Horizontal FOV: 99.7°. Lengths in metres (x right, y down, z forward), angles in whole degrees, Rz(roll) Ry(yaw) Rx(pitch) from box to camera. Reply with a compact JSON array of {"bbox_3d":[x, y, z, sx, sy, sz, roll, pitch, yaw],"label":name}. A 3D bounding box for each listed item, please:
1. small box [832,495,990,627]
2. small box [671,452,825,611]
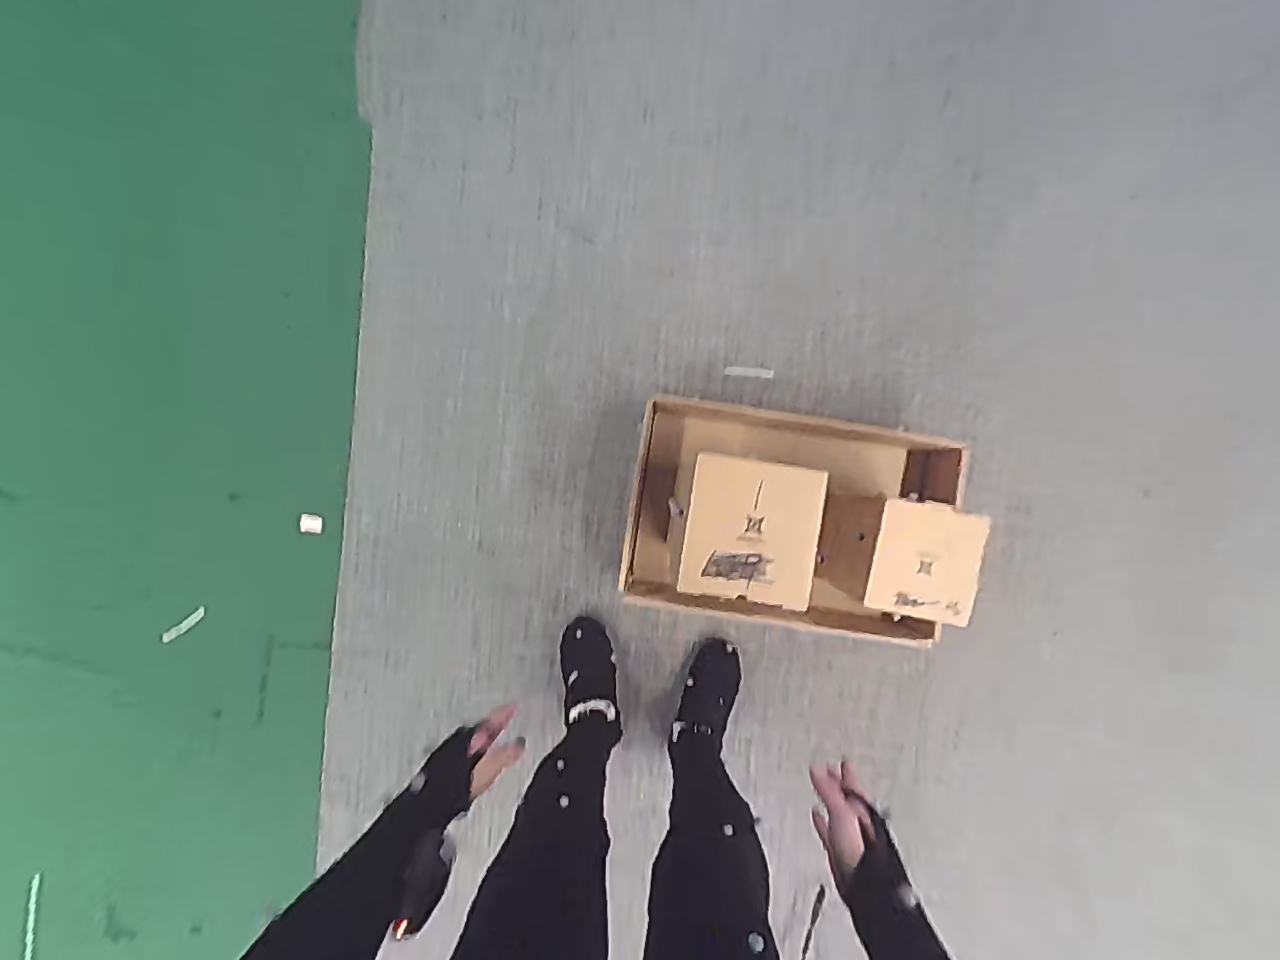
[{"bbox_3d":[0.439,0.125,0.905,0.168,0.176,0.179,12,90,1],"label":"small box"},{"bbox_3d":[0.136,0.065,0.746,0.168,0.176,0.179,9,88,0],"label":"small box"}]
